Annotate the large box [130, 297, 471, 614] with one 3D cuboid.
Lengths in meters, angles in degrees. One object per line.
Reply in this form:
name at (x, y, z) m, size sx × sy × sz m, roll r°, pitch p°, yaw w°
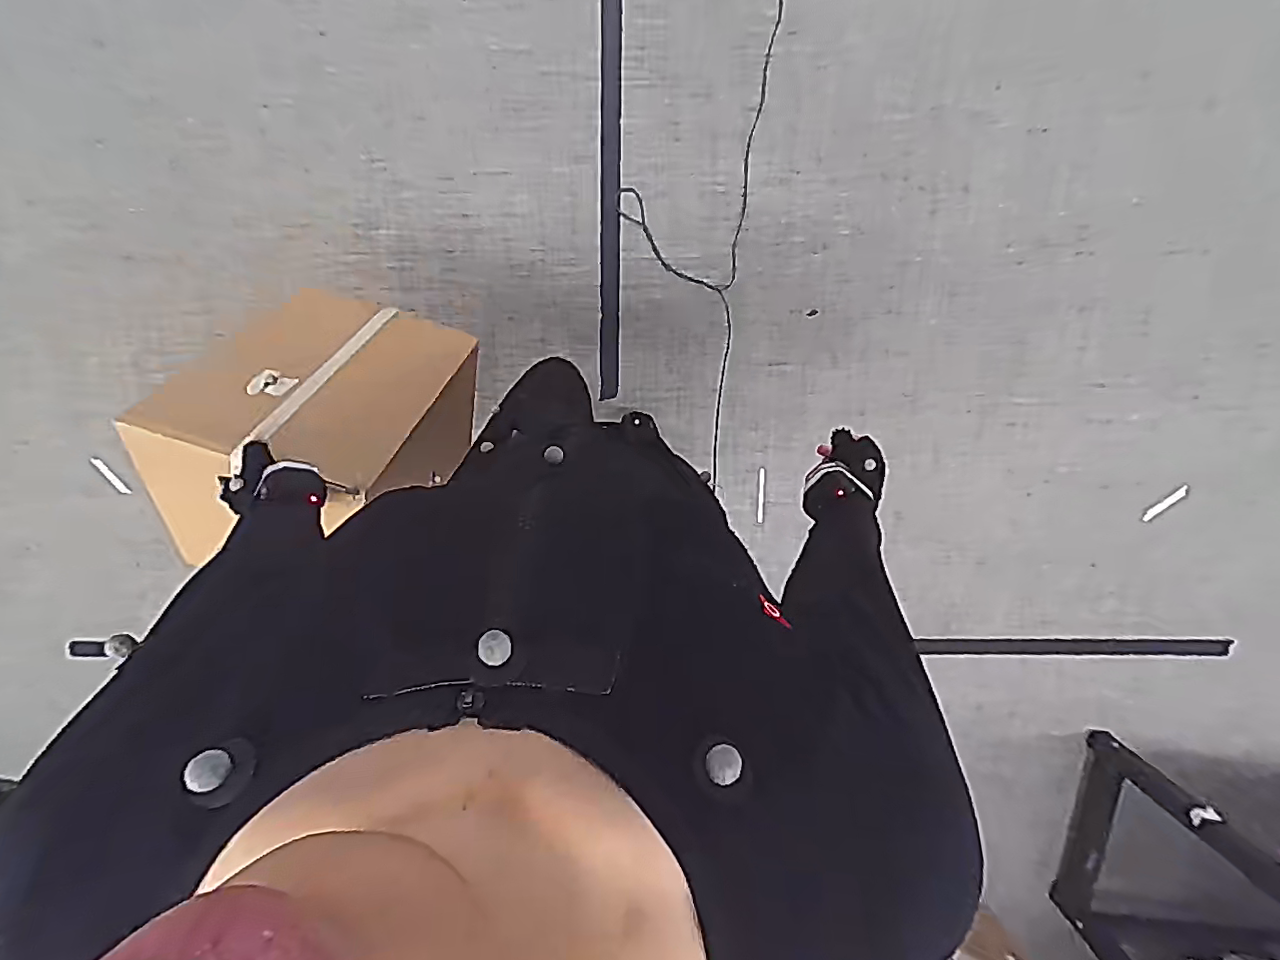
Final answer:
large box at (-0.511, -0.049, 0.932) m, size 0.320 × 0.408 × 0.320 m, roll 15°, pitch 134°, yaw -4°
